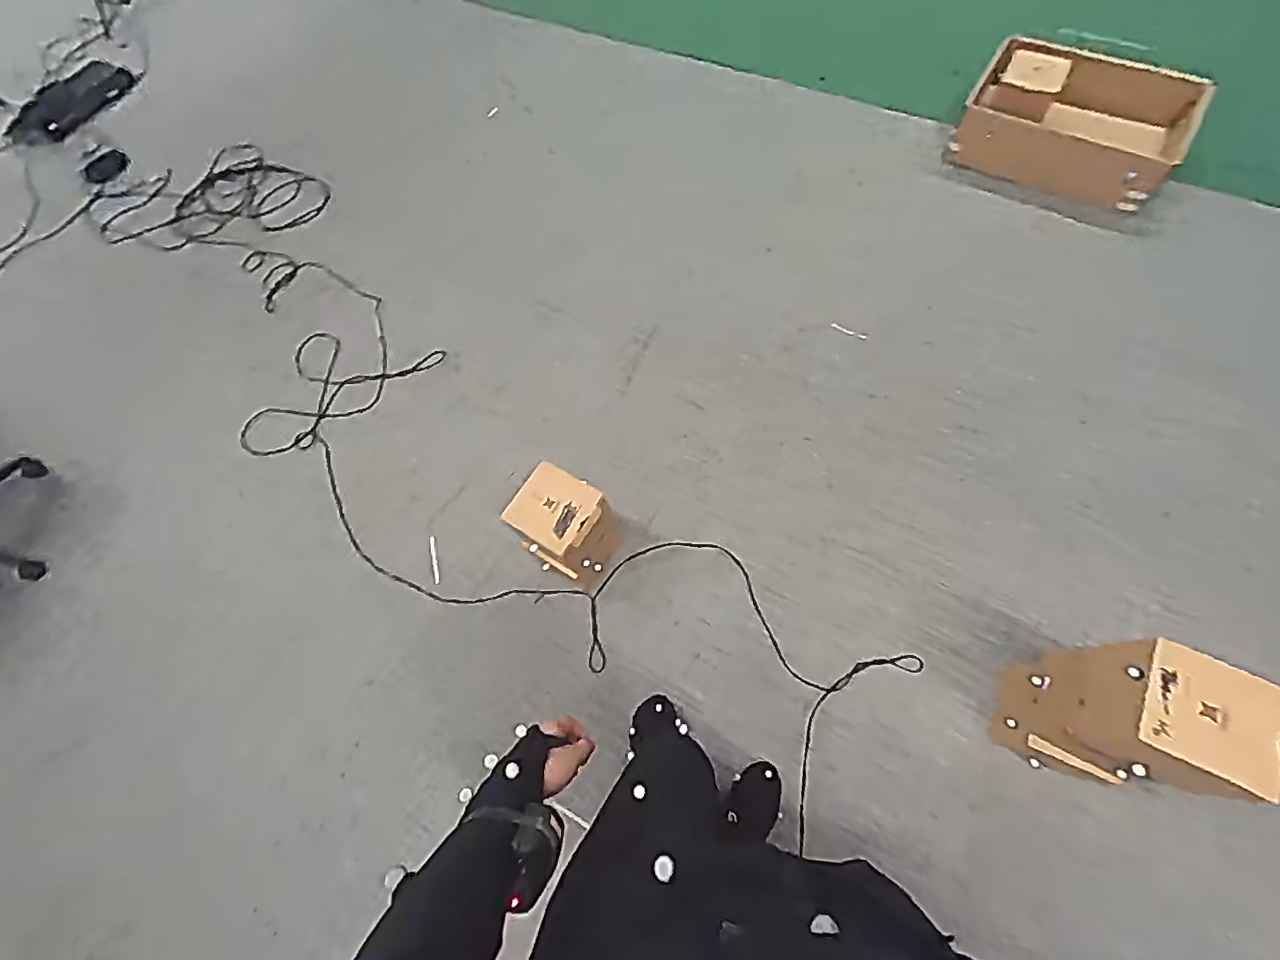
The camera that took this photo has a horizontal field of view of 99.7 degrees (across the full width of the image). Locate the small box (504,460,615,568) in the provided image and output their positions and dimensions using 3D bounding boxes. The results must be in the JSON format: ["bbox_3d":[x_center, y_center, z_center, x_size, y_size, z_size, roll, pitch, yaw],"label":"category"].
[{"bbox_3d":[-0.177,0.087,1.256,0.179,0.176,0.168,29,73,18],"label":"small box"}]

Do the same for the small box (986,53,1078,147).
[{"bbox_3d":[1.277,-1.243,1.772,0.168,0.176,0.179,27,73,16],"label":"small box"}]

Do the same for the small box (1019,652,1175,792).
[{"bbox_3d":[0.859,0.443,1.006,0.179,0.176,0.168,25,71,17],"label":"small box"}]

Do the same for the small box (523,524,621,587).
[{"bbox_3d":[-0.166,0.161,1.403,0.179,0.176,0.168,29,73,17],"label":"small box"}]

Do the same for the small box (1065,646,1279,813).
[{"bbox_3d":[0.835,0.383,0.855,0.179,0.176,0.168,26,72,15],"label":"small box"}]
